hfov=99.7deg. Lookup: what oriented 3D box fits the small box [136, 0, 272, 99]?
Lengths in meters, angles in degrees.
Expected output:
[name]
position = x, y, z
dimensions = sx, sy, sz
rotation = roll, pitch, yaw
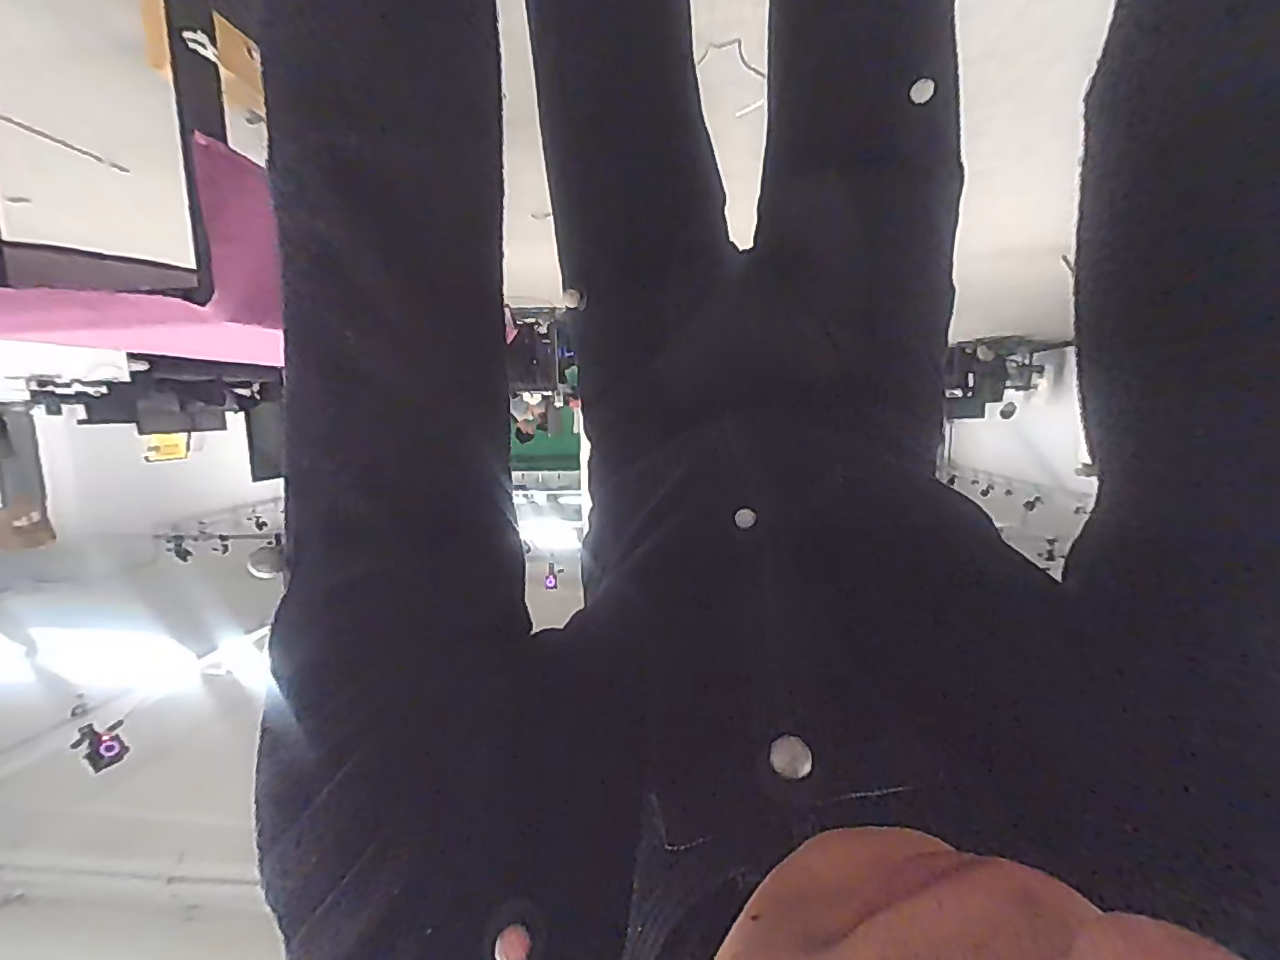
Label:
[small box]
position = -0.968, -0.991, 1.202
dimensions = 0.168, 0.176, 0.179
rotation = 0, -171, 5
